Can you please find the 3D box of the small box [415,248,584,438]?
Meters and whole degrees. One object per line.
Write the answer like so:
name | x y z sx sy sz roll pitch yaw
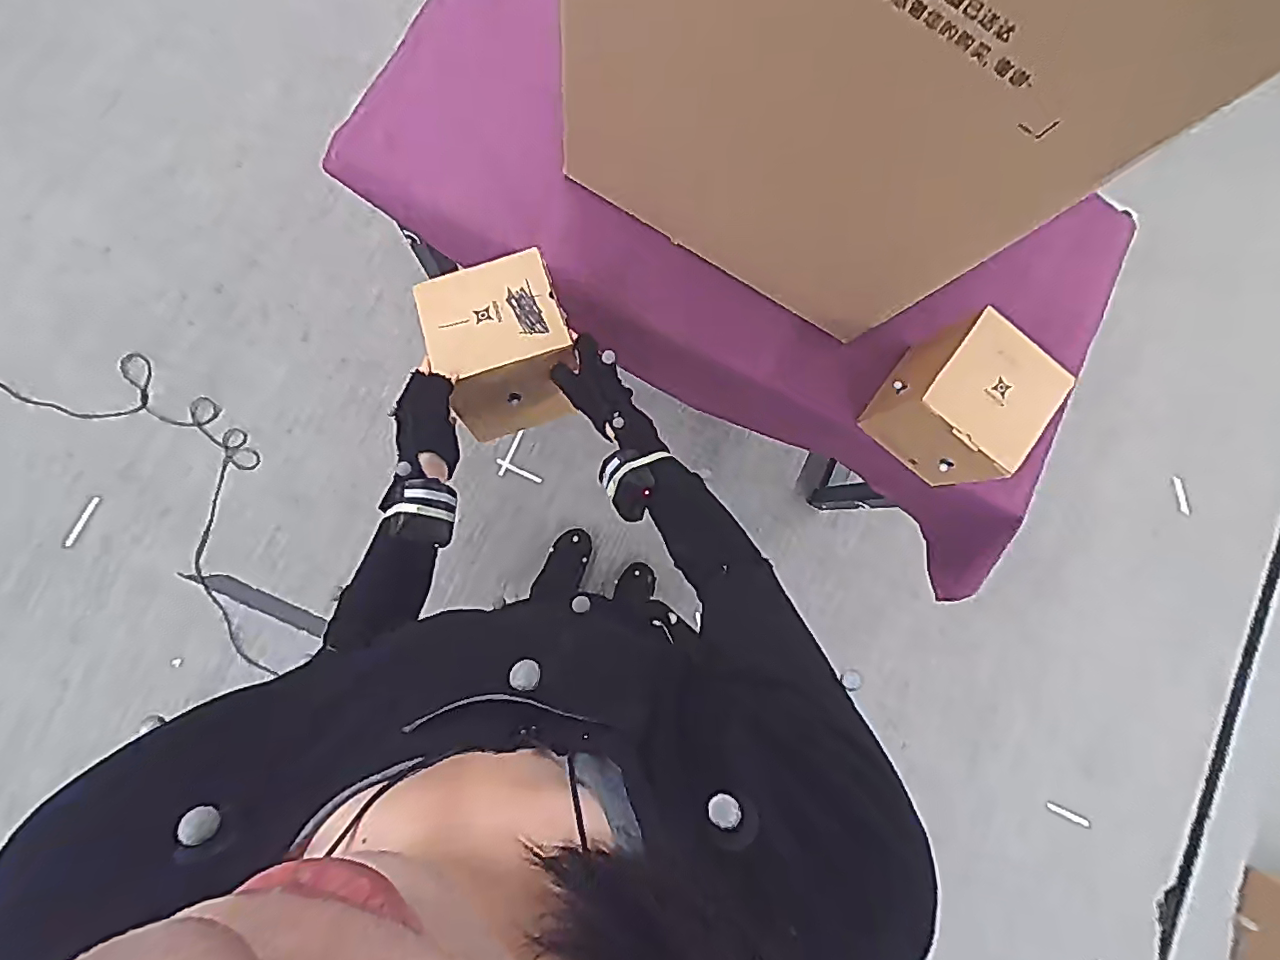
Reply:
small box | -0.184 -0.182 0.756 0.179 0.176 0.168 -19 69 -4

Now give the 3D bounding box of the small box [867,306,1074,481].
small box | 0.472 -0.114 0.805 0.168 0.176 0.179 38 80 -4
